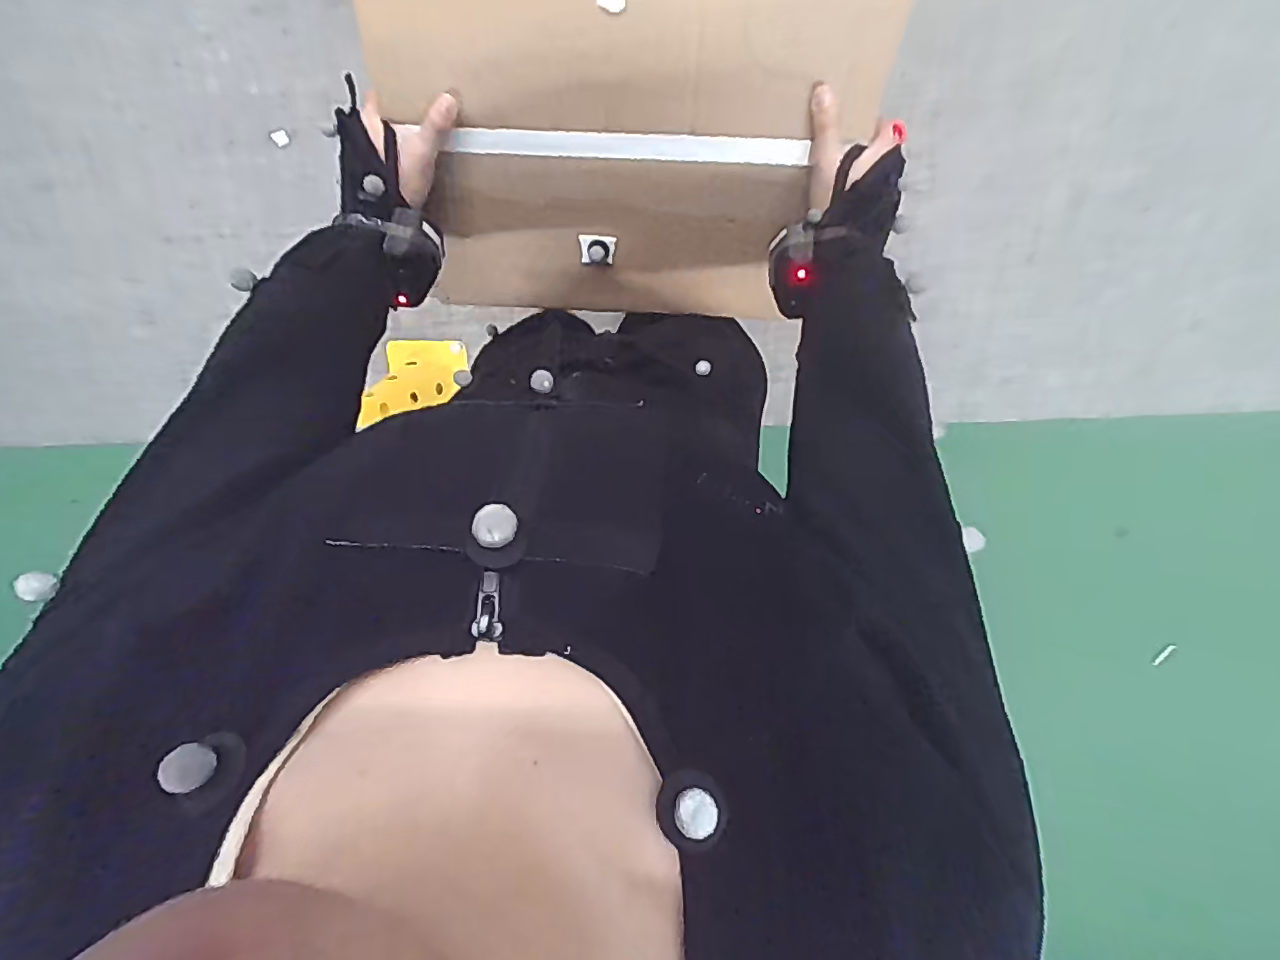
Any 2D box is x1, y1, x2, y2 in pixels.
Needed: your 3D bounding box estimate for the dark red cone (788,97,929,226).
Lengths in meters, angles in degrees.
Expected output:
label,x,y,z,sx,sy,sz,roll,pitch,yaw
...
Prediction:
label,x,y,z,sx,sy,sz,roll,pitch,yaw
dark red cone,0.384,-0.557,0.916,0.202,0.394,0.201,-8,113,7
